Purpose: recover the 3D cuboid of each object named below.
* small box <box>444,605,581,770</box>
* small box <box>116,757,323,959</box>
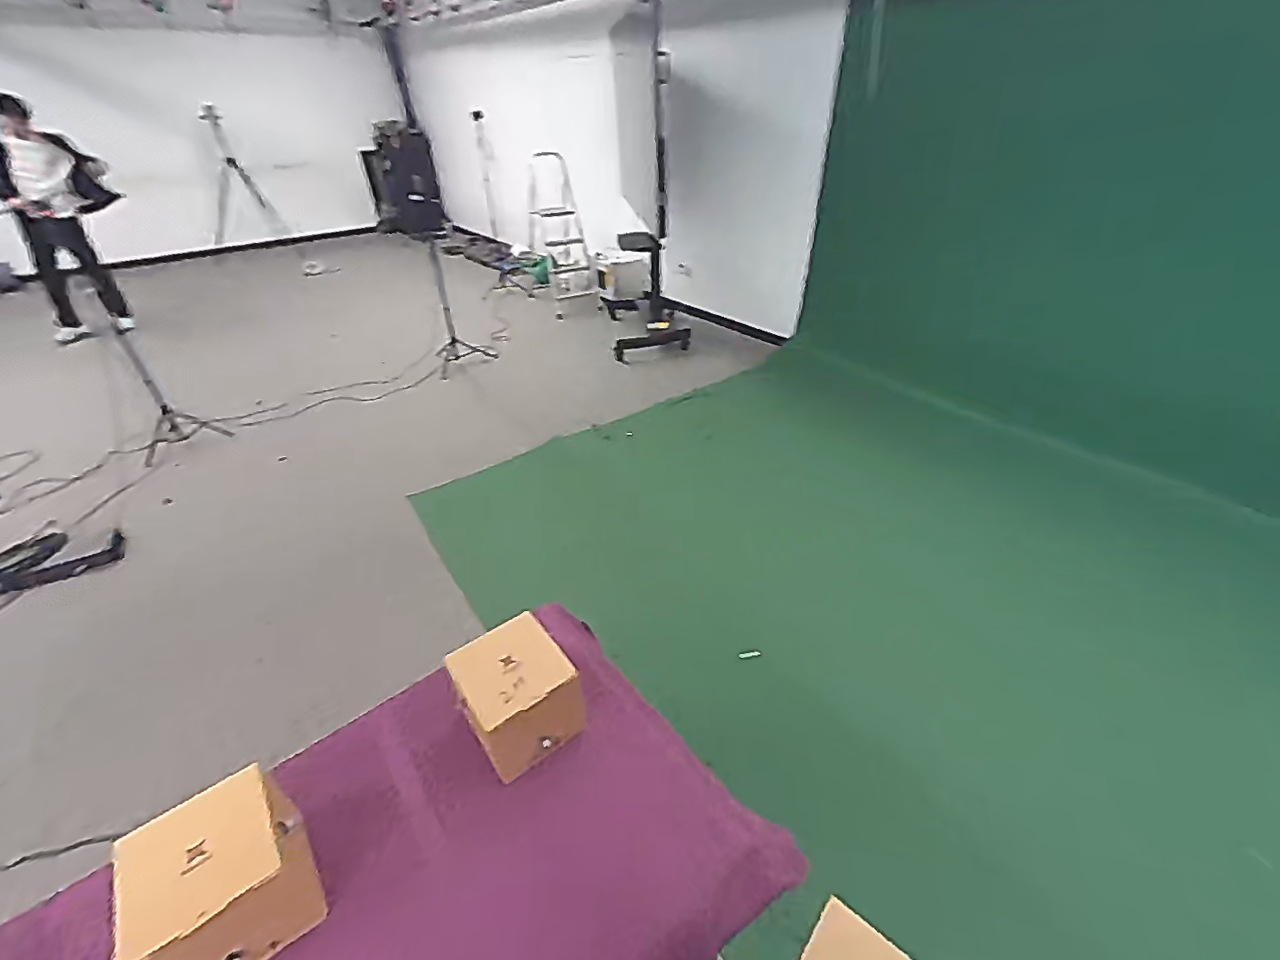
[{"bbox_3d":[-0.221,0.363,0.954,0.168,0.176,0.179,-26,44,-29],"label":"small box"},{"bbox_3d":[-0.565,0.533,0.737,0.168,0.176,0.179,-26,44,-30],"label":"small box"}]
